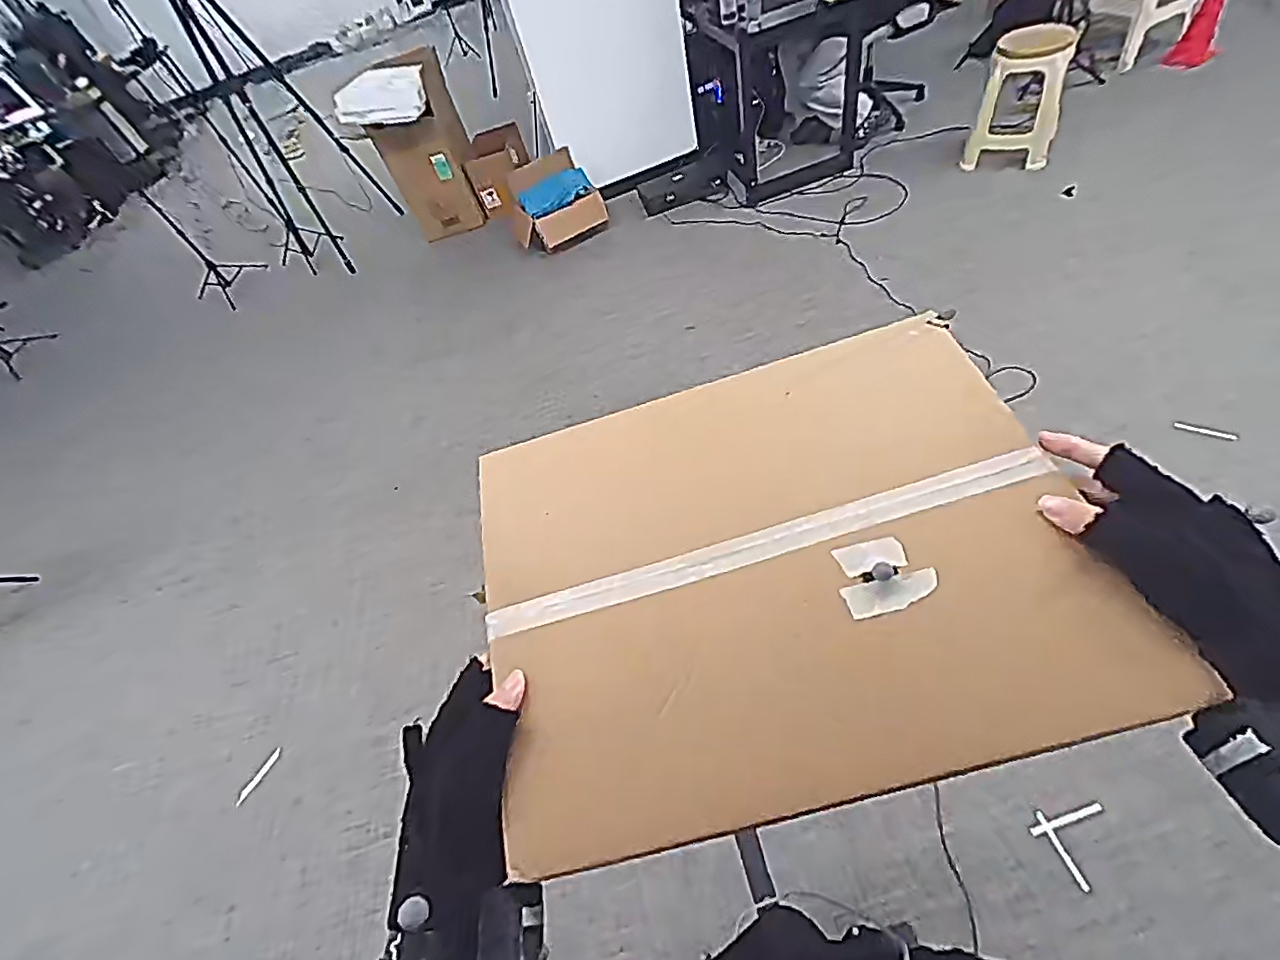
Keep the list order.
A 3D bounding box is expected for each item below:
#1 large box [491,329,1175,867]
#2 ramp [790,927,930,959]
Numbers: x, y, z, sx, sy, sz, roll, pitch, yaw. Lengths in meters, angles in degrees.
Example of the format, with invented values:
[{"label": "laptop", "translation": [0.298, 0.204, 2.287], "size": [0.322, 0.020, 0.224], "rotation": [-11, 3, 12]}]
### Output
[{"label": "large box", "translation": [0.116, 0.127, 0.522], "size": [0.408, 0.320, 0.320], "rotation": [-18, 58, 4]}, {"label": "ramp", "translation": [0.398, 1.274, 0.709], "size": [0.509, 0.206, 0.991], "rotation": [-20, 49, 3]}]
